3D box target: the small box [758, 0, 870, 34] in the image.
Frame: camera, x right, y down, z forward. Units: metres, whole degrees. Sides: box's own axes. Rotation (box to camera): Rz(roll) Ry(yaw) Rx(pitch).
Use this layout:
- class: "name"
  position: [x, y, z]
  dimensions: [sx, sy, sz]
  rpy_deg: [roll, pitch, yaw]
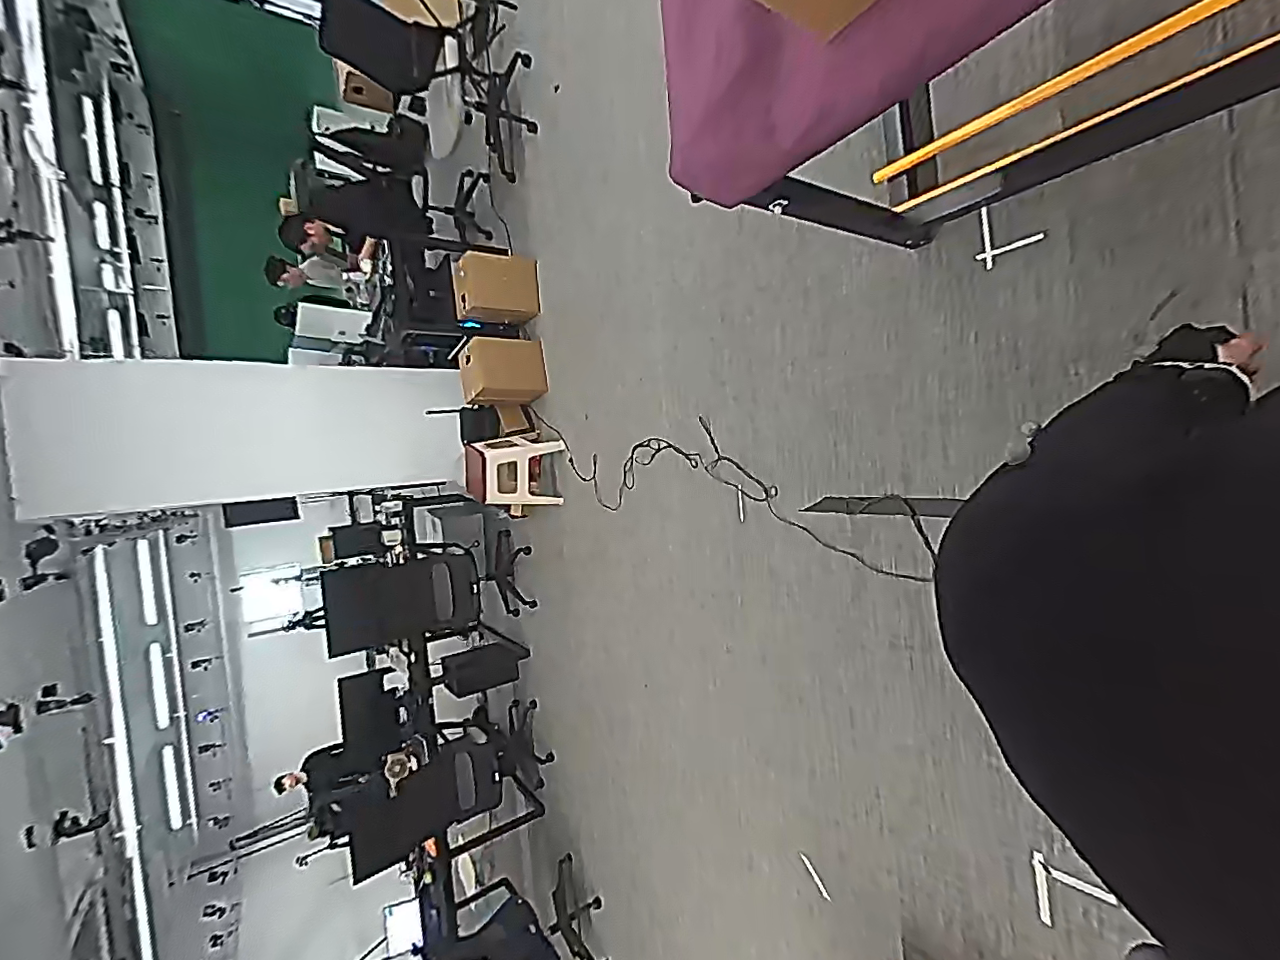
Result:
- class: "small box"
  position: [0.231, -0.684, 0.628]
  dimensions: [0.179, 0.176, 0.168]
  rpy_deg: [-6, 91, 56]
